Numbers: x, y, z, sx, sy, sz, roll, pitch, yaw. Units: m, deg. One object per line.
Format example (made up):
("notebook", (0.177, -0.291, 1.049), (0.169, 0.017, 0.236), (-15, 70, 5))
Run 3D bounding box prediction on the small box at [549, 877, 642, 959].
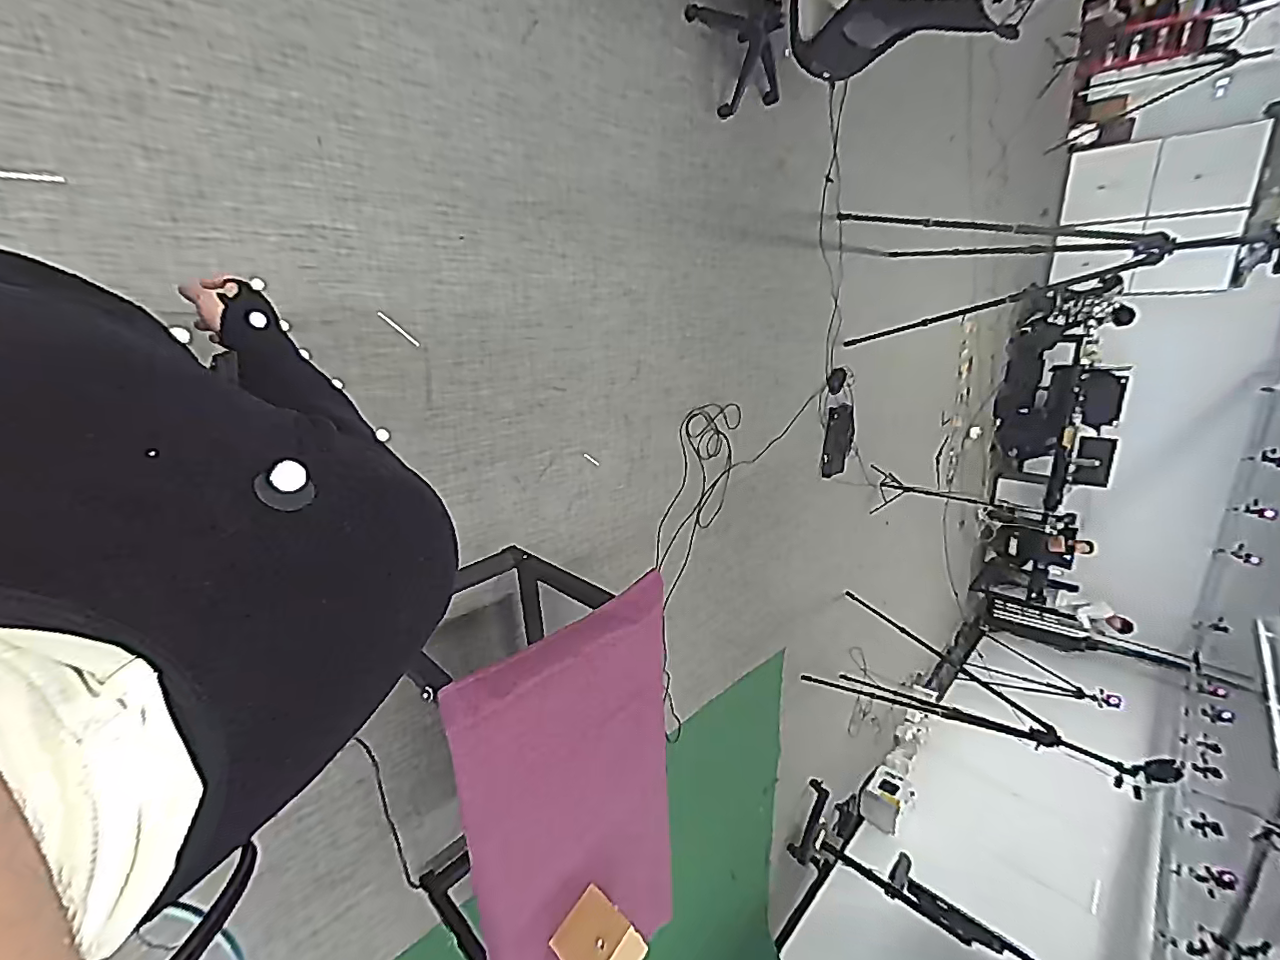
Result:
("small box", (-0.128, 1.261, 1.494), (0.179, 0.176, 0.168), (-41, 127, -31))
